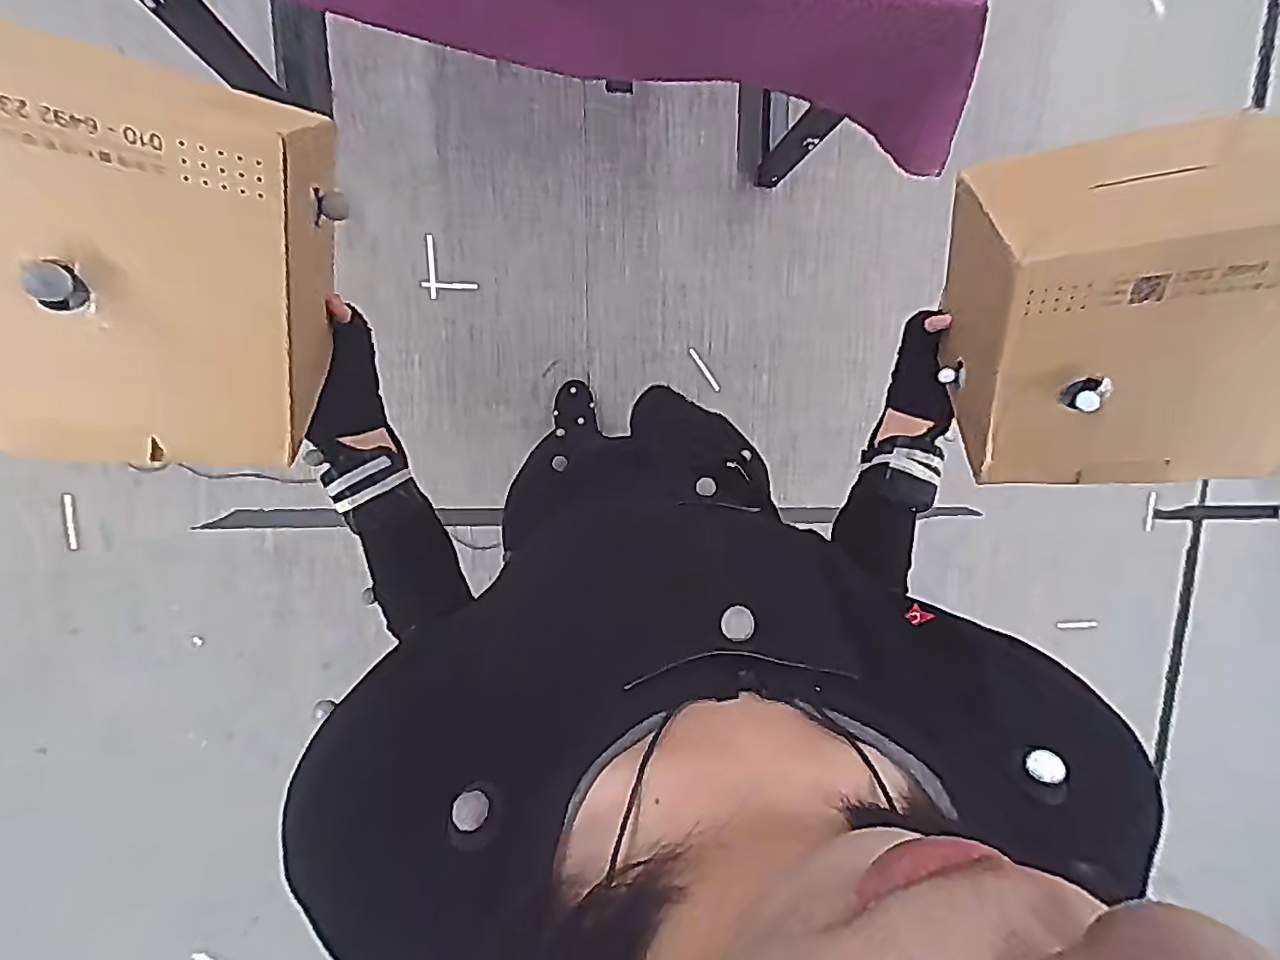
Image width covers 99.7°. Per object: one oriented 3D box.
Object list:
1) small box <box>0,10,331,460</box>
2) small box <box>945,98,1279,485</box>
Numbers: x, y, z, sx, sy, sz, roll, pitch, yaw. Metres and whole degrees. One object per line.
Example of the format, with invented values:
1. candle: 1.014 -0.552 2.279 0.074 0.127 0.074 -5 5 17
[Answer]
1. small box: -0.266 -0.129 0.283 0.168 0.179 0.176 5 120 -24
2. small box: 0.312 -0.118 0.352 0.168 0.179 0.176 -2 133 19
